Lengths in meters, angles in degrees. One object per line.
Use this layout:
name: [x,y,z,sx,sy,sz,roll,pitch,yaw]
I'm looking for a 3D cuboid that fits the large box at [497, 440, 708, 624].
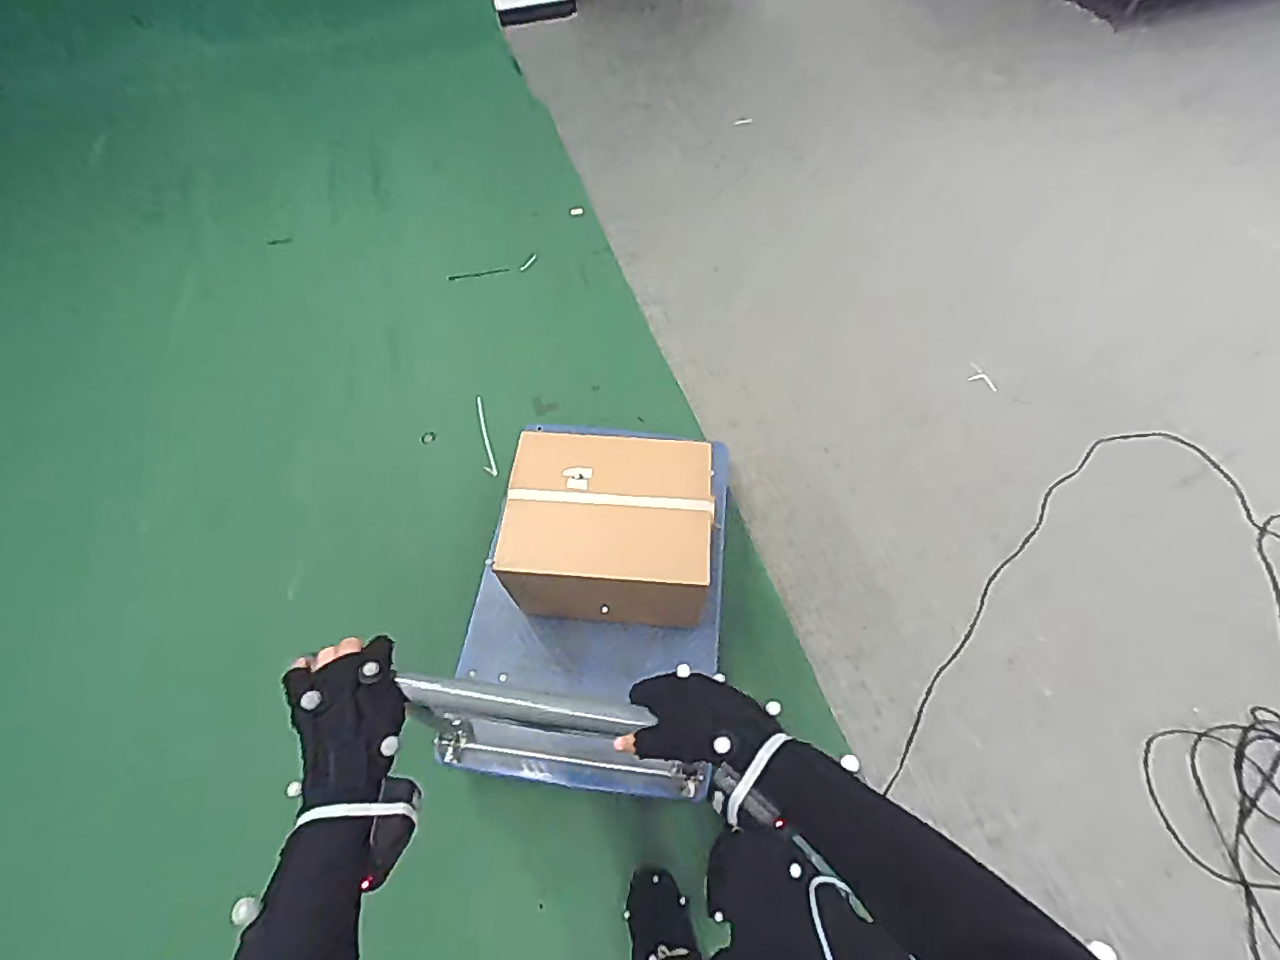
large box: [-0.059,0.126,1.208,0.408,0.320,0.320,3,60,3]
